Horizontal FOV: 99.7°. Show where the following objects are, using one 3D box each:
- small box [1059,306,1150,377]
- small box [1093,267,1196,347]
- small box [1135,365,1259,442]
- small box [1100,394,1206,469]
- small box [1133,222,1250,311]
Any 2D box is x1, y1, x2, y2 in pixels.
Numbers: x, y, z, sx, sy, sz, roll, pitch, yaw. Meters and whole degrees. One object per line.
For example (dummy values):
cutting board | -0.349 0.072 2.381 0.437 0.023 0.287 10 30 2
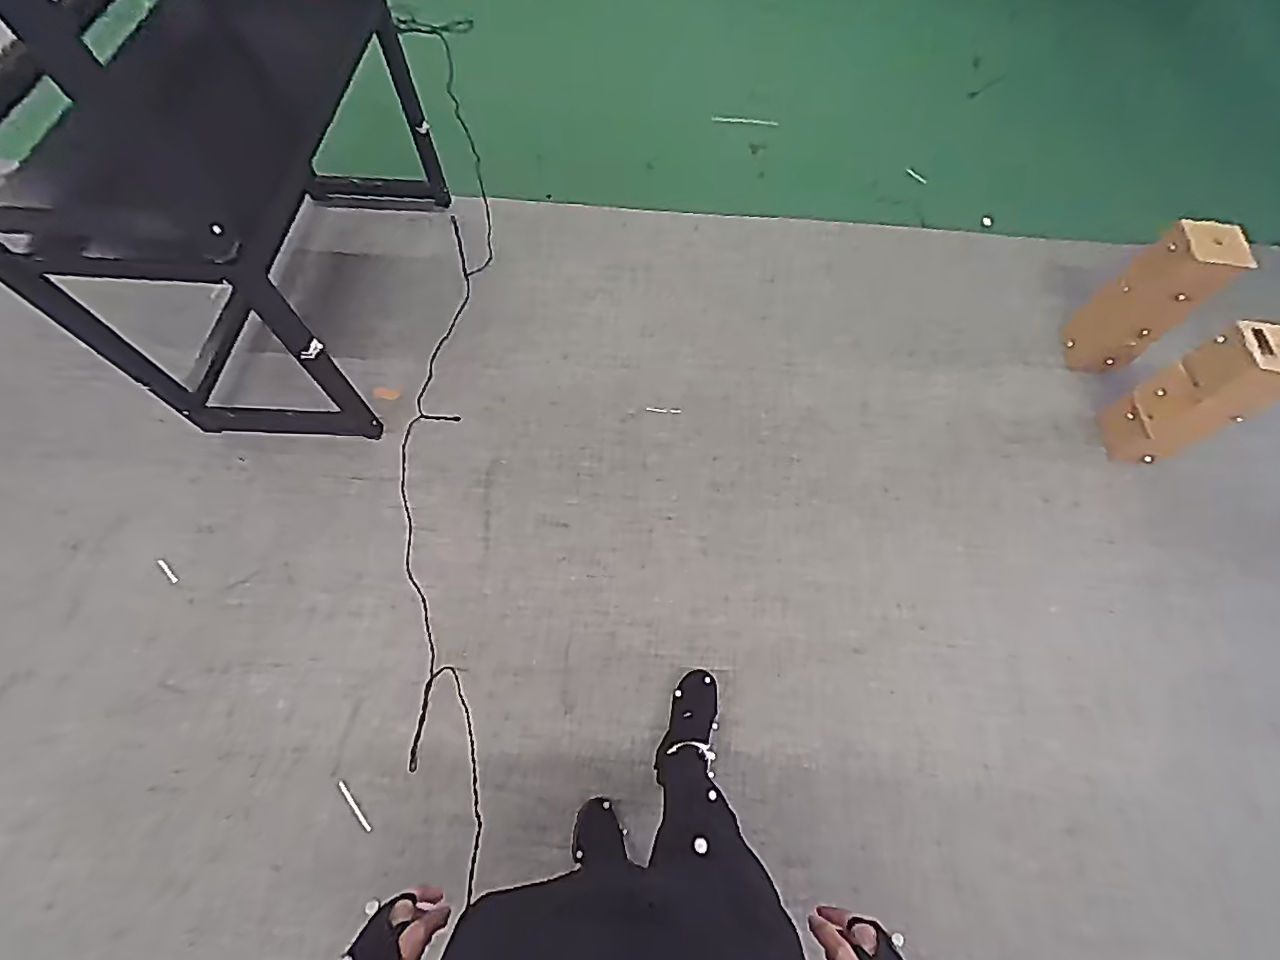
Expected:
small box | 1.652 -0.491 1.934 0.168 0.176 0.179 7 64 2
small box | 1.657 -0.572 1.790 0.168 0.176 0.179 7 64 3
small box | 1.647 -0.226 1.618 0.179 0.176 0.168 2 63 -1
small box | 1.660 -0.157 1.765 0.168 0.176 0.179 5 64 1
small box | 1.661 -0.646 1.645 0.168 0.176 0.179 9 64 4
